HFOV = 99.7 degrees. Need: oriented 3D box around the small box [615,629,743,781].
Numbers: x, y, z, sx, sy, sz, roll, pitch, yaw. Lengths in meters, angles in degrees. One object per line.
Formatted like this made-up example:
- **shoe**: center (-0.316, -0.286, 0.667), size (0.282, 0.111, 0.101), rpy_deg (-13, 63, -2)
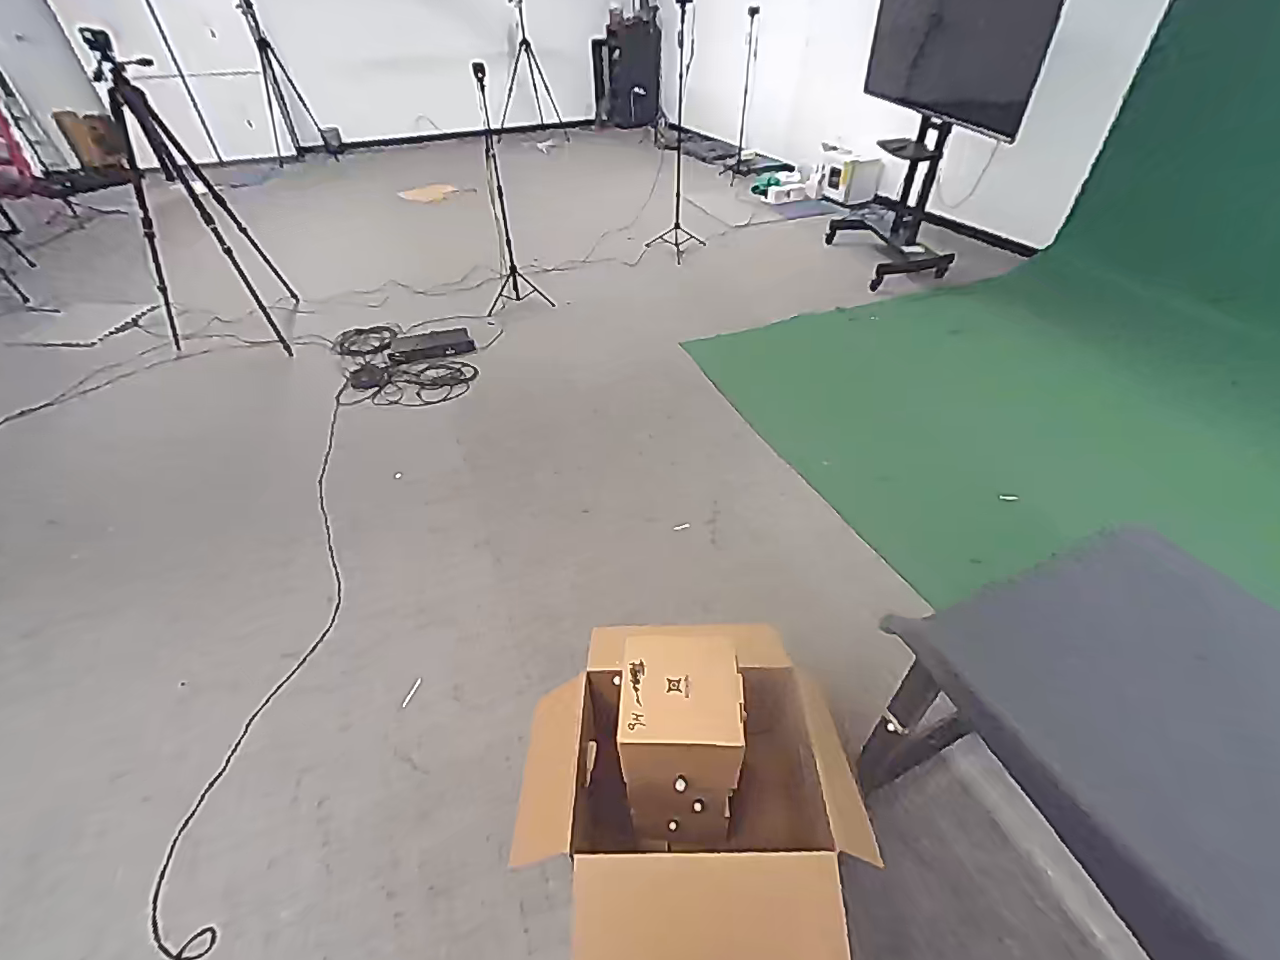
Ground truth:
- **small box**: center (0.059, 0.351, 0.842), size (0.179, 0.176, 0.168), rpy_deg (1, 43, 4)
